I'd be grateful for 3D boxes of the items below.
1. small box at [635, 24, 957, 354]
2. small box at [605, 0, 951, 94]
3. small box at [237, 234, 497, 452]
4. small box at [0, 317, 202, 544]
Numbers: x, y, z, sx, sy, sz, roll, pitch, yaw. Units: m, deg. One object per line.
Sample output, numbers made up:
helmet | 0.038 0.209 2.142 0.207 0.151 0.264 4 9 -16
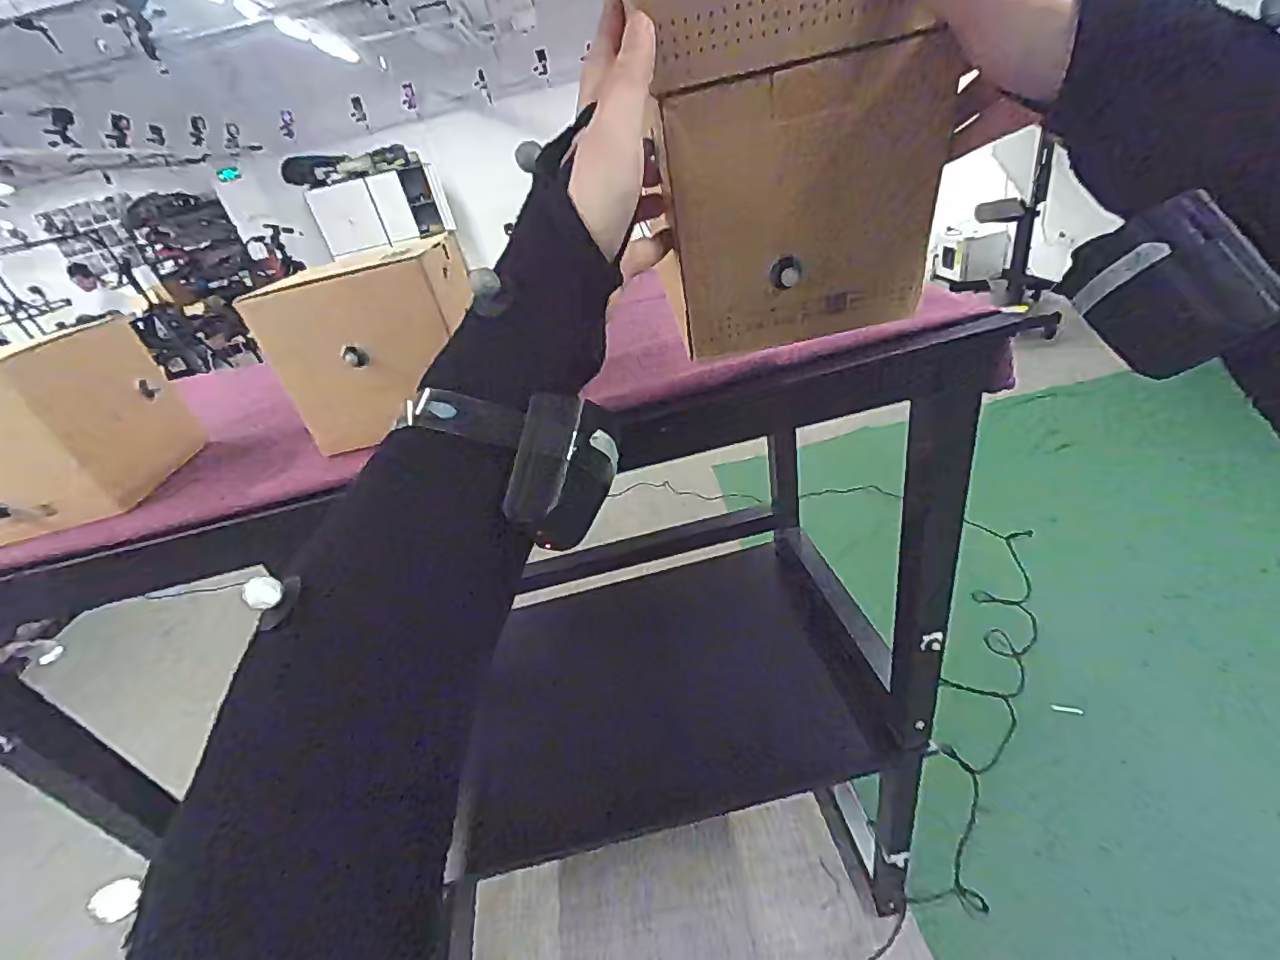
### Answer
small box | 0.094 -0.219 0.405 0.168 0.176 0.179 -12 43 2
small box | 0.059 -0.331 0.288 0.179 0.176 0.168 -12 44 2
small box | -0.273 -0.152 0.595 0.179 0.176 0.168 -14 31 1
small box | -0.629 -0.055 0.580 0.168 0.176 0.179 -15 32 -2
